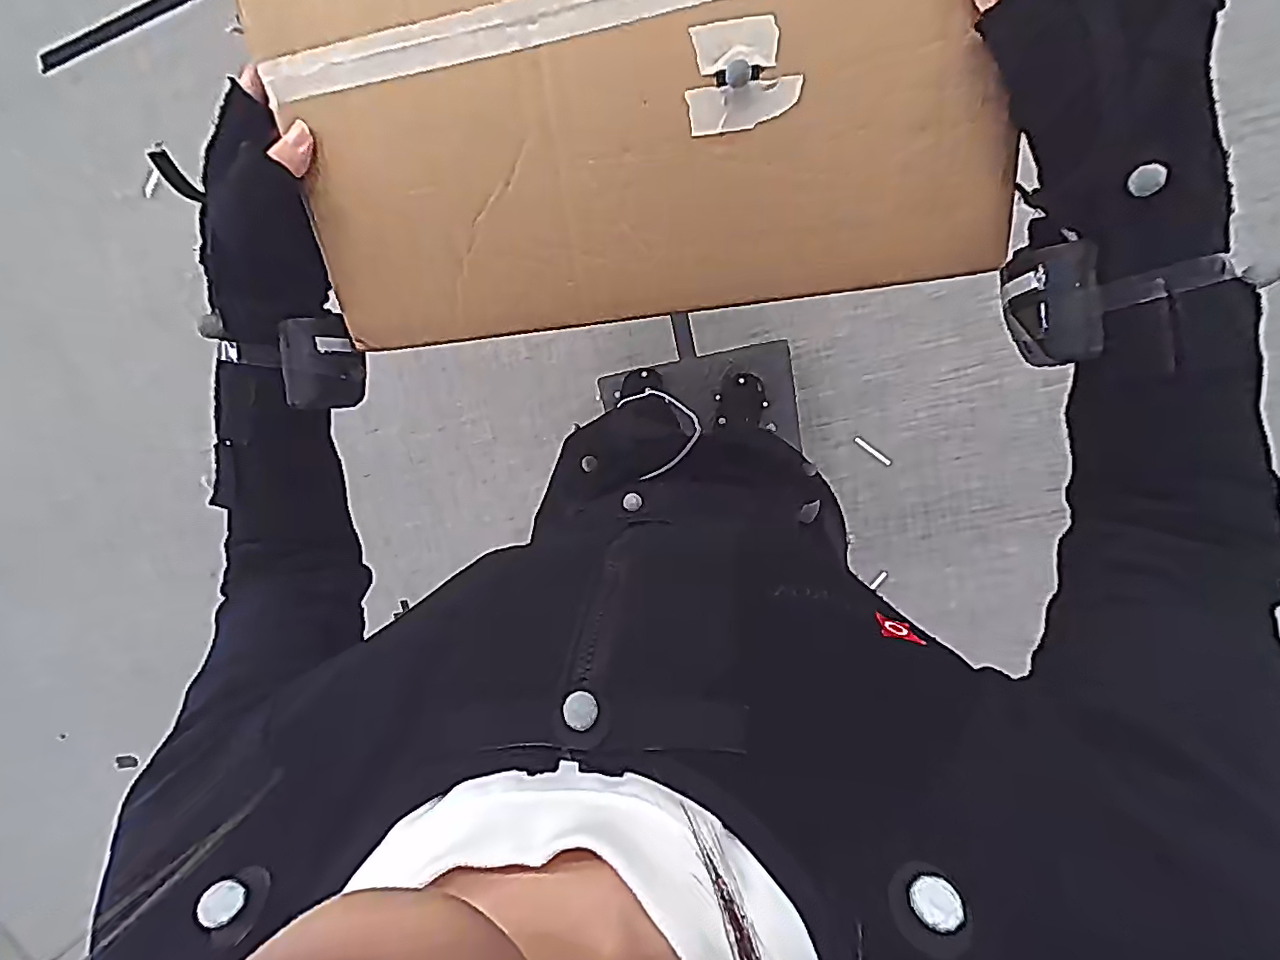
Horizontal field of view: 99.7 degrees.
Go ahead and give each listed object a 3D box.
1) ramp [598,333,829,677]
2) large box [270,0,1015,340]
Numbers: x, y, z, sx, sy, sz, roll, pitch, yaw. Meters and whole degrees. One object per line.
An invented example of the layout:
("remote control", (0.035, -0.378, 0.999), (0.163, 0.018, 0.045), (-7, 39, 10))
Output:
("ramp", (0.235, 0.132, 1.525), (0.509, 0.206, 0.991), (-12, 99, 10))
("large box", (0.005, -0.313, 0.425), (0.408, 0.320, 0.320), (-5, 113, 10))
